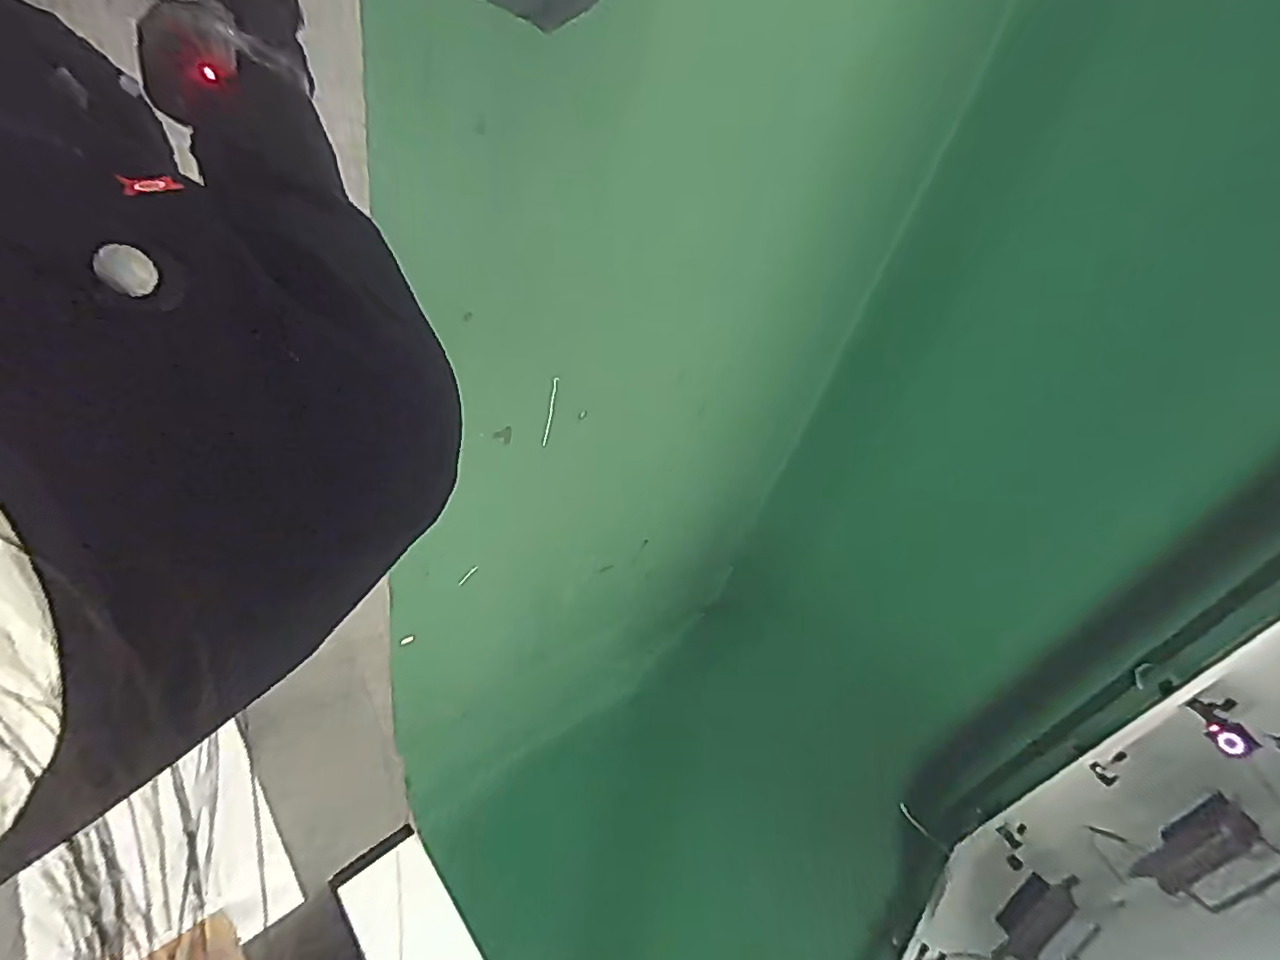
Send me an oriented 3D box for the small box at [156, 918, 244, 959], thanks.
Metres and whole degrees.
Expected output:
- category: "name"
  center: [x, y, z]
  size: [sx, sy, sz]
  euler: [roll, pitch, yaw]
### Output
- category: "small box"
  center: [-1.152, 1.308, 1.414]
  size: [0.179, 0.176, 0.168]
  euler: [-21, 138, -40]
